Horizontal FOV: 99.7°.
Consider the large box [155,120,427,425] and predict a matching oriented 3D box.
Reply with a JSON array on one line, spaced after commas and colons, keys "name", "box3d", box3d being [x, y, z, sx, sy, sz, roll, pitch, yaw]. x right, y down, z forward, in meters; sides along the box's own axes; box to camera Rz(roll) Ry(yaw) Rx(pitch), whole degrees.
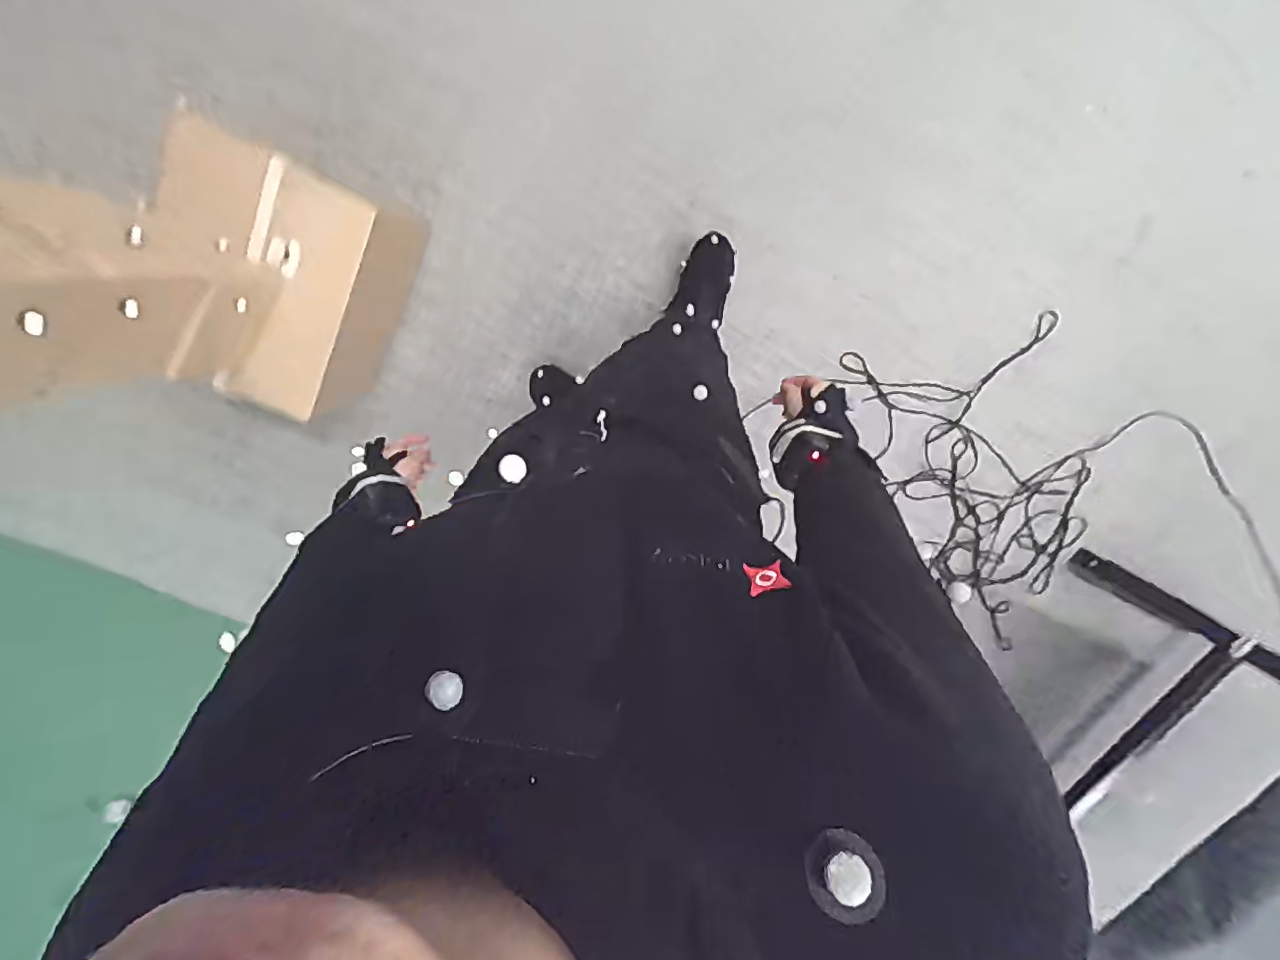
[{"name": "large box", "box3d": [-0.668, -0.372, 1.055, 0.320, 0.320, 0.408, 24, 105, -13]}]
